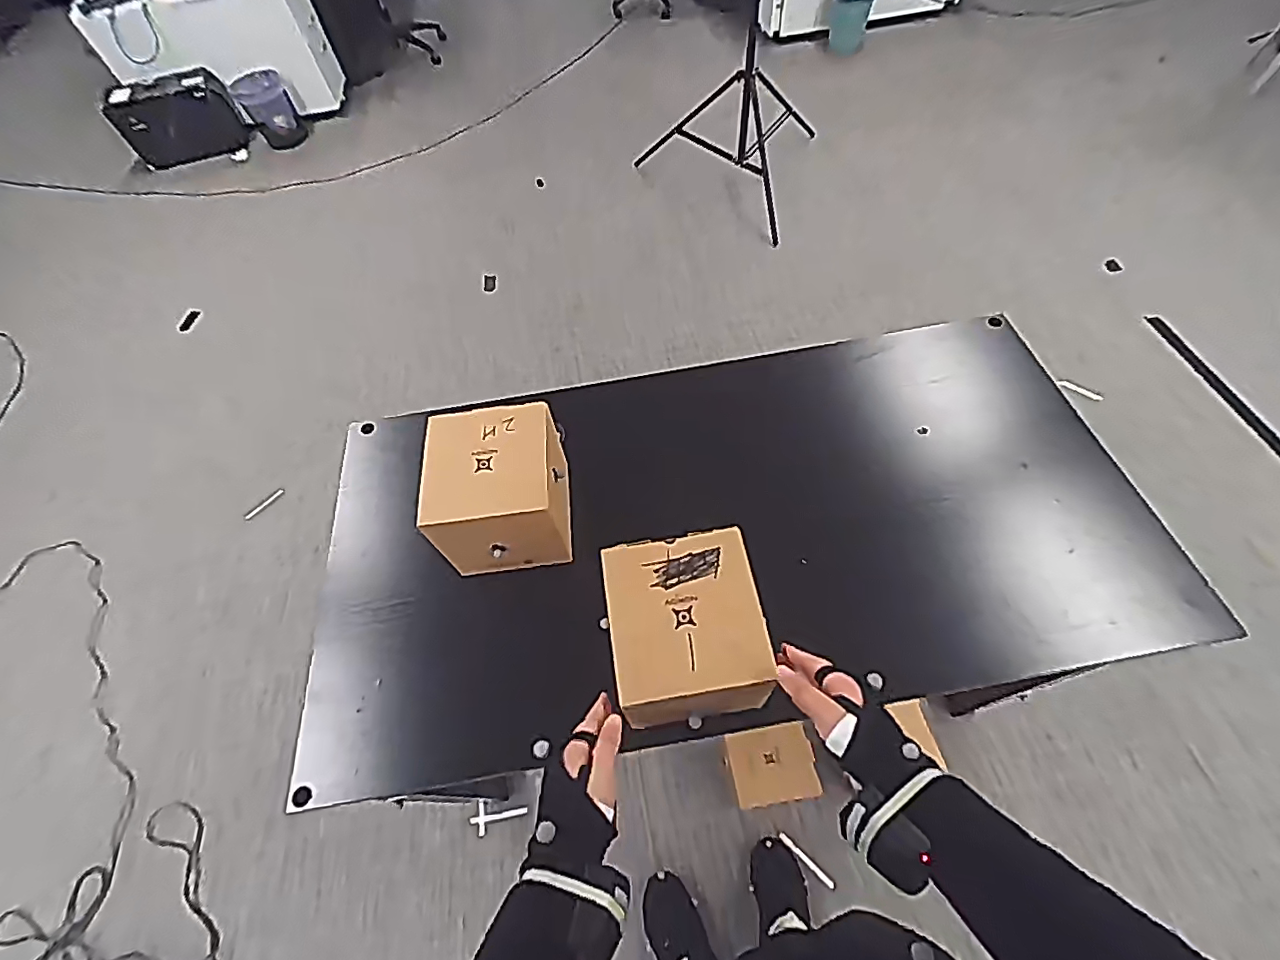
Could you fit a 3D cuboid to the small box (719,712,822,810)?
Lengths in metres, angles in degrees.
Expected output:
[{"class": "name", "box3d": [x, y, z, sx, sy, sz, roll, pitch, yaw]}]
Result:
[{"class": "small box", "box3d": [0.283, 0.634, 1.216, 0.179, 0.176, 0.168, -11, 57, -1]}]

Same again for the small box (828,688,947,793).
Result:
[{"class": "small box", "box3d": [0.542, 0.589, 1.217, 0.168, 0.176, 0.179, -11, 58, -1]}]

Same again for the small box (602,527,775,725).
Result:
[{"class": "small box", "box3d": [0.051, 0.181, 0.655, 0.168, 0.176, 0.179, -10, 58, 0]}]

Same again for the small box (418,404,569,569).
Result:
[{"class": "small box", "box3d": [-0.198, 0.018, 0.779, 0.168, 0.176, 0.179, -7, 58, 0]}]
